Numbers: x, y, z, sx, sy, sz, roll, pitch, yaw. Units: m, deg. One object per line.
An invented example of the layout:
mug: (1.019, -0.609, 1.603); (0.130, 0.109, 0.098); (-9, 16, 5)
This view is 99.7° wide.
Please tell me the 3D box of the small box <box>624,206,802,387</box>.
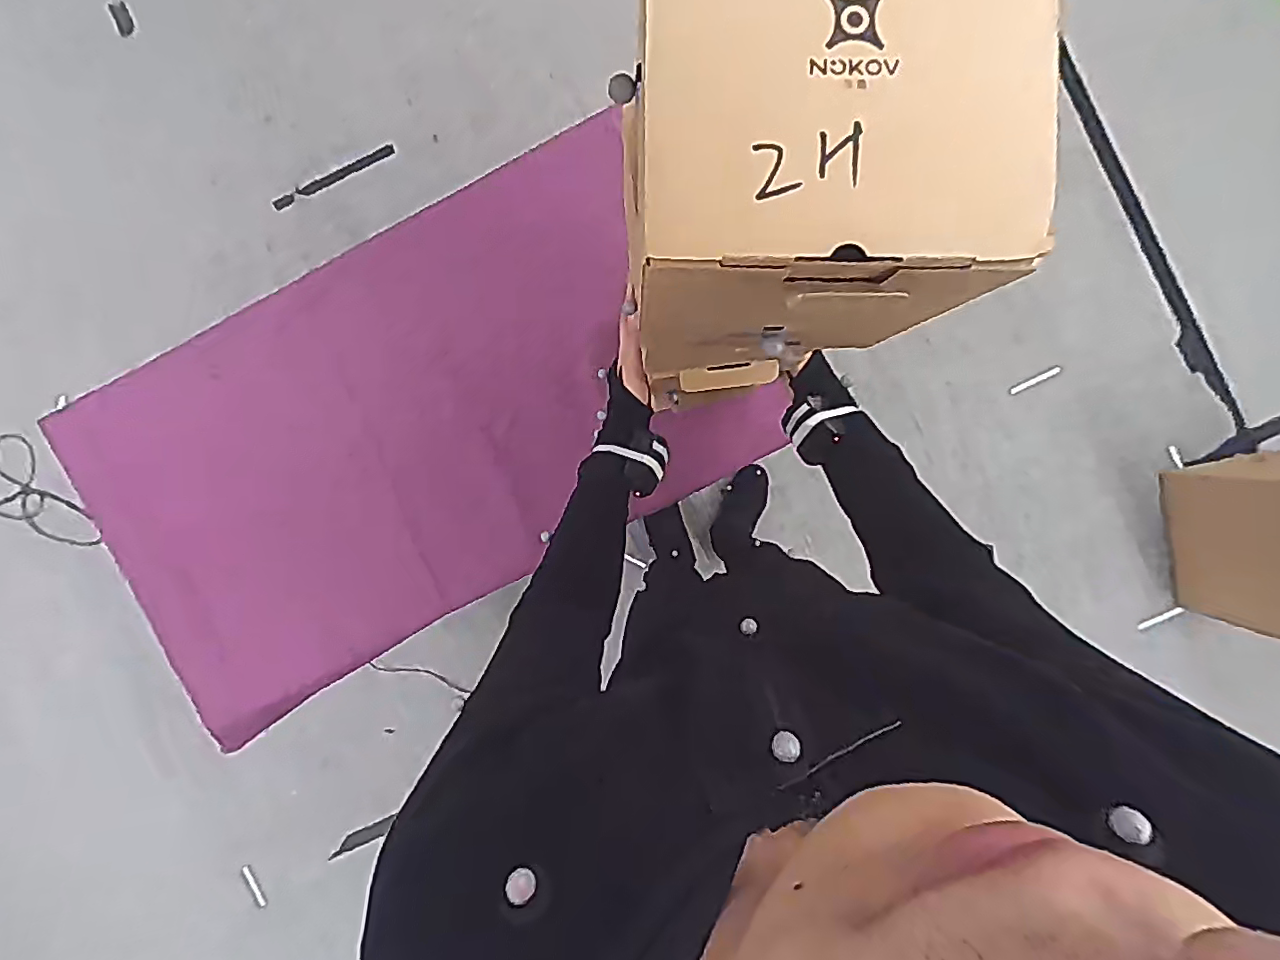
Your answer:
small box: (0.075, -0.205, 0.620); (0.168, 0.176, 0.179); (-7, 92, 0)

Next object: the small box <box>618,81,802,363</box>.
small box: (0.073, -0.200, 0.457); (0.168, 0.176, 0.179); (-6, 92, -1)

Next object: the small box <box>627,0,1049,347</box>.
small box: (0.077, -0.179, 0.293); (0.168, 0.176, 0.179); (1, 93, -1)
